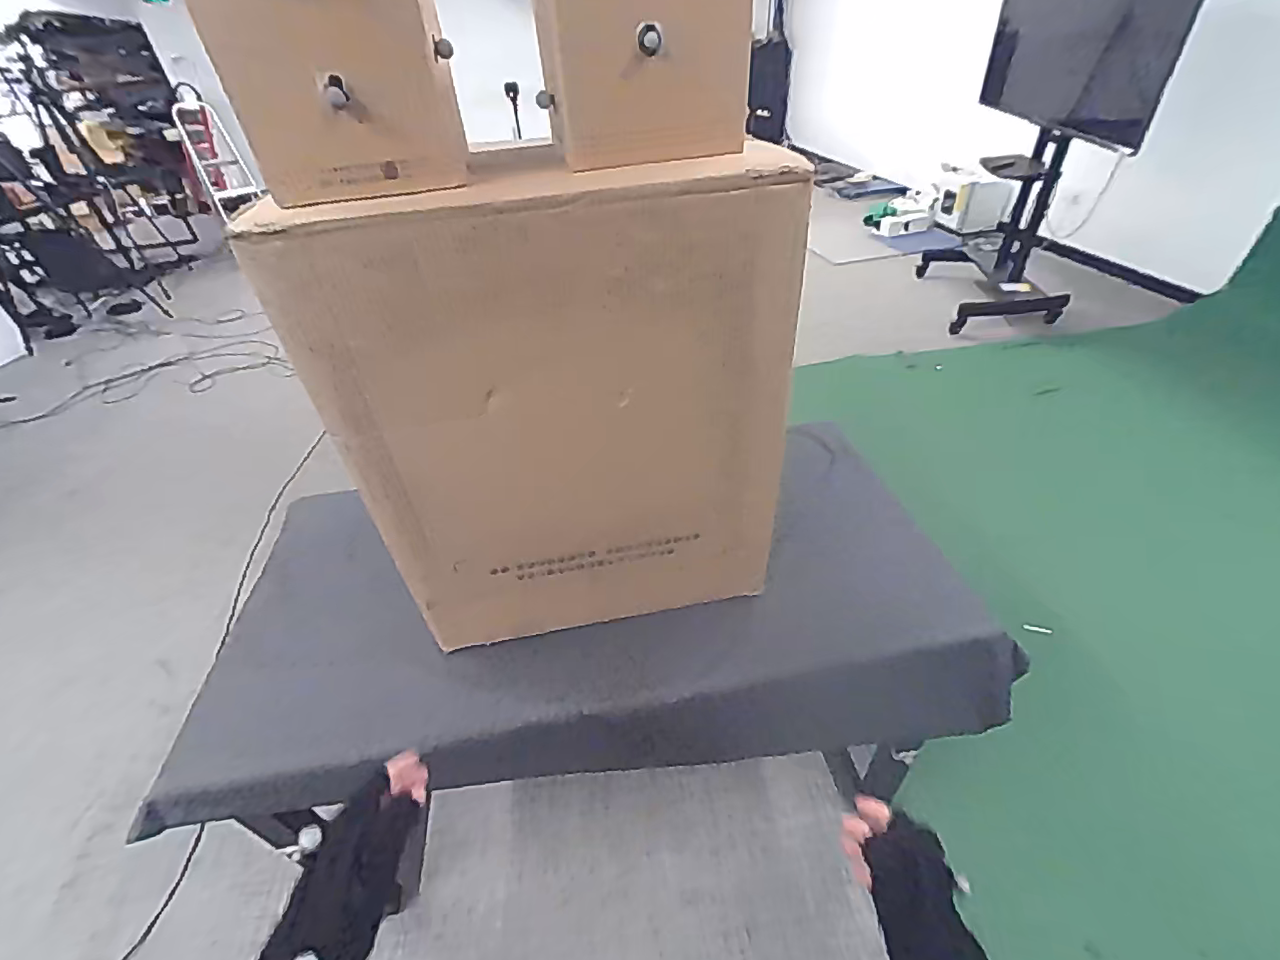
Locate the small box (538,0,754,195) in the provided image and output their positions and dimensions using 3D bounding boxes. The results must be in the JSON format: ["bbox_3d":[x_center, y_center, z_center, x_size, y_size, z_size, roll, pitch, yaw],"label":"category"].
[{"bbox_3d":[-0.002,-0.405,0.546,0.179,0.176,0.168,-11,41,-8],"label":"small box"}]

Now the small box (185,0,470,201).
[{"bbox_3d":[-0.261,-0.370,0.500,0.168,0.176,0.179,-10,42,-8],"label":"small box"}]
